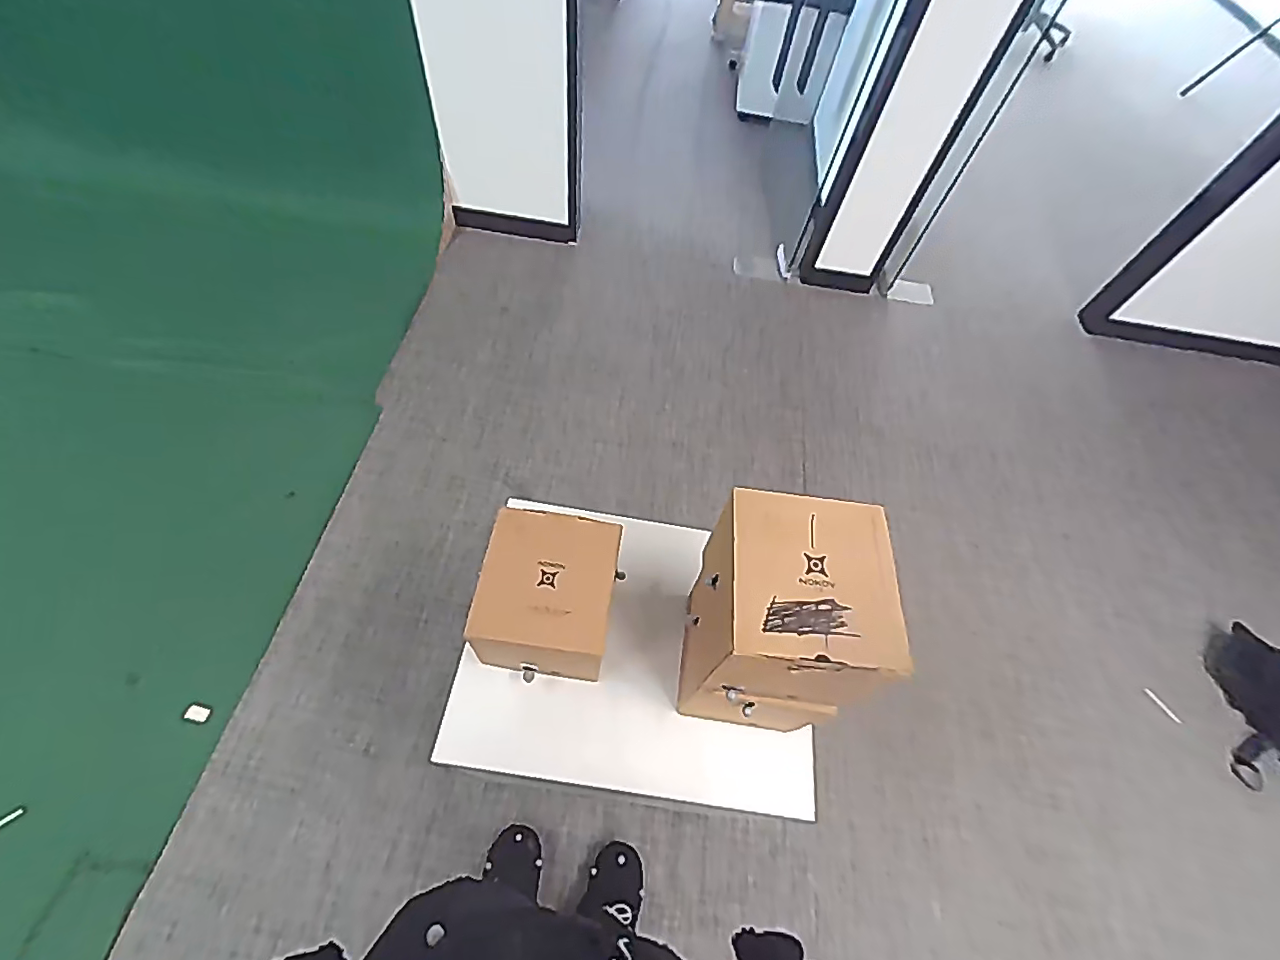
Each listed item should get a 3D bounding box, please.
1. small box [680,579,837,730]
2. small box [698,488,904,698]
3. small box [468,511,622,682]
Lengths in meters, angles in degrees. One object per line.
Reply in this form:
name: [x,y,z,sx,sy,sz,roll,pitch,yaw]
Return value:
small box: [0.151,0.224,0.733,0.168,0.176,0.179,9,58,0]
small box: [0.160,0.132,0.597,0.168,0.176,0.179,7,58,-2]
small box: [-0.120,0.165,0.743,0.168,0.176,0.179,7,60,-1]
